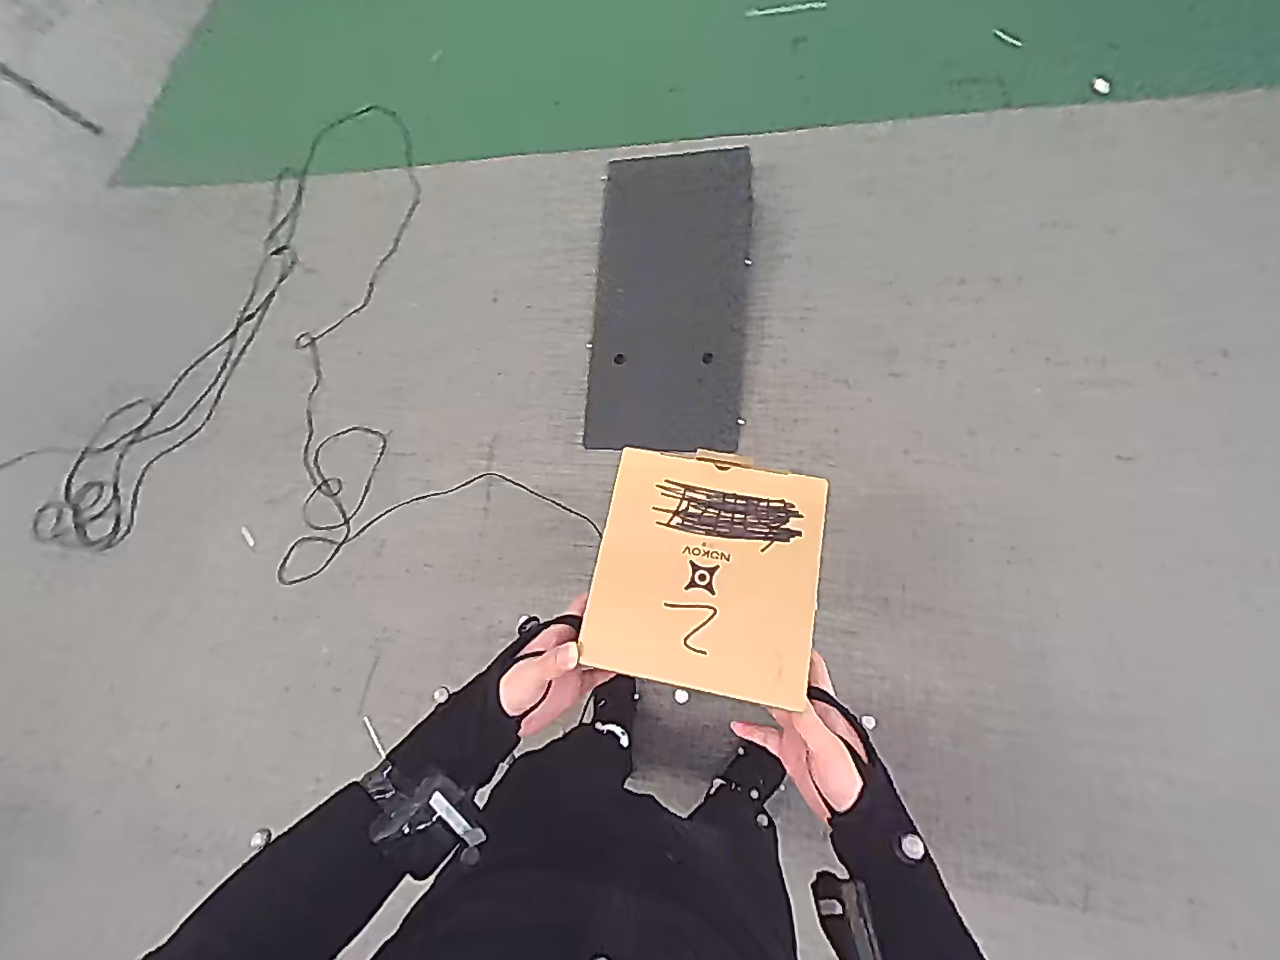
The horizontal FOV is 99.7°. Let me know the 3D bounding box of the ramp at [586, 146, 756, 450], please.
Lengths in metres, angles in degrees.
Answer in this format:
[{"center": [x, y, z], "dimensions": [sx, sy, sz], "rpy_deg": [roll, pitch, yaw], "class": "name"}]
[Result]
[{"center": [0.101, -0.590, 1.733], "dimensions": [0.509, 0.206, 0.991], "rpy_deg": [1, 72, 12], "class": "ramp"}]
